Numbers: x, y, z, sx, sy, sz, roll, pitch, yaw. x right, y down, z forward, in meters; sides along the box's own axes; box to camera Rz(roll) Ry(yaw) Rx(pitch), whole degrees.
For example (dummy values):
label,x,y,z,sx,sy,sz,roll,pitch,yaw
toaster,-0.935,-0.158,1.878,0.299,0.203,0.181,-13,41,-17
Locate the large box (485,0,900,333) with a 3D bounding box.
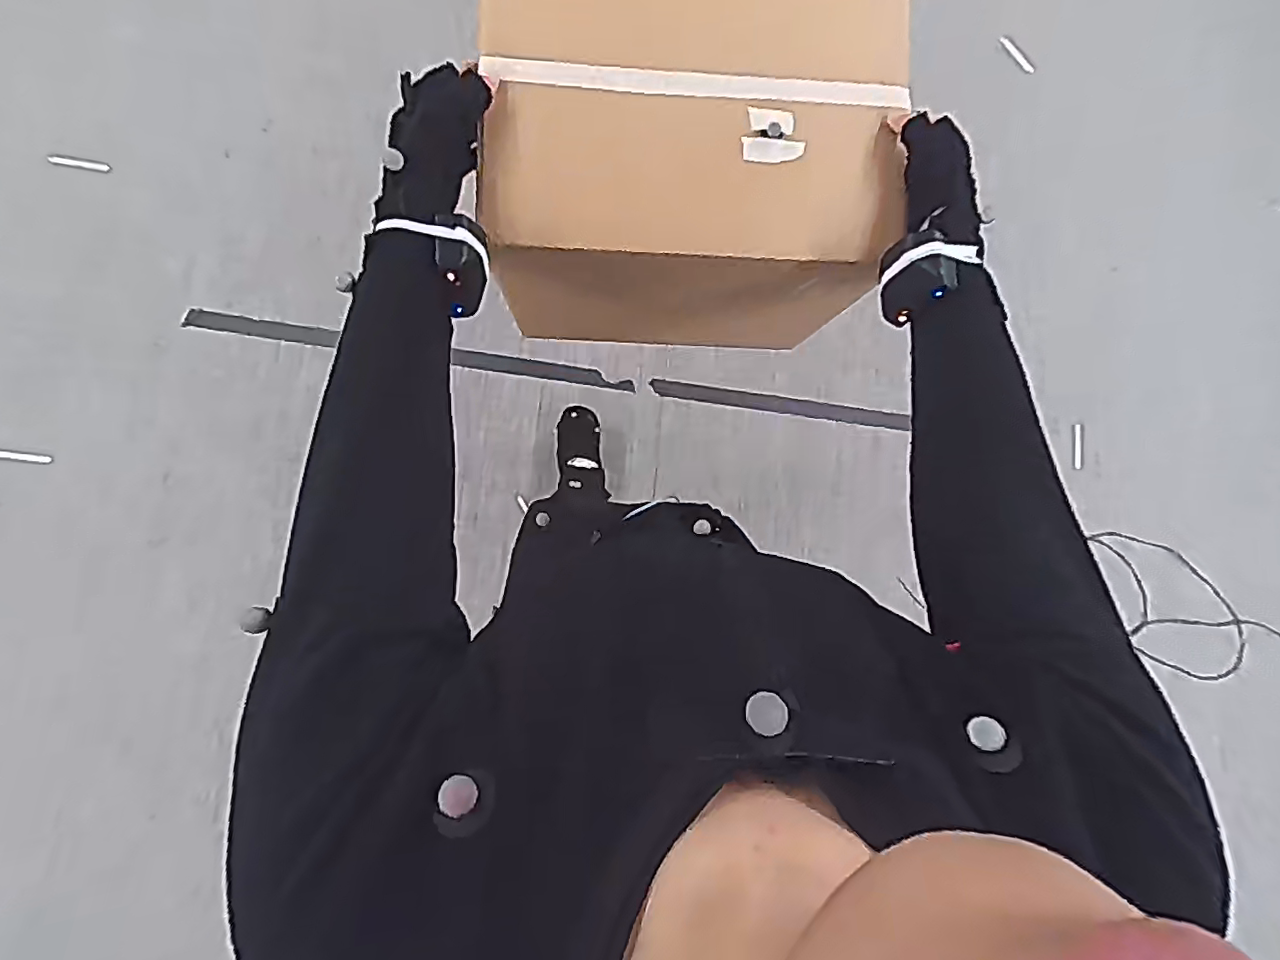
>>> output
label,x,y,z,sx,sy,sz,roll,pitch,yaw
large box,0.041,-0.379,0.662,0.408,0.320,0.320,1,90,-5
